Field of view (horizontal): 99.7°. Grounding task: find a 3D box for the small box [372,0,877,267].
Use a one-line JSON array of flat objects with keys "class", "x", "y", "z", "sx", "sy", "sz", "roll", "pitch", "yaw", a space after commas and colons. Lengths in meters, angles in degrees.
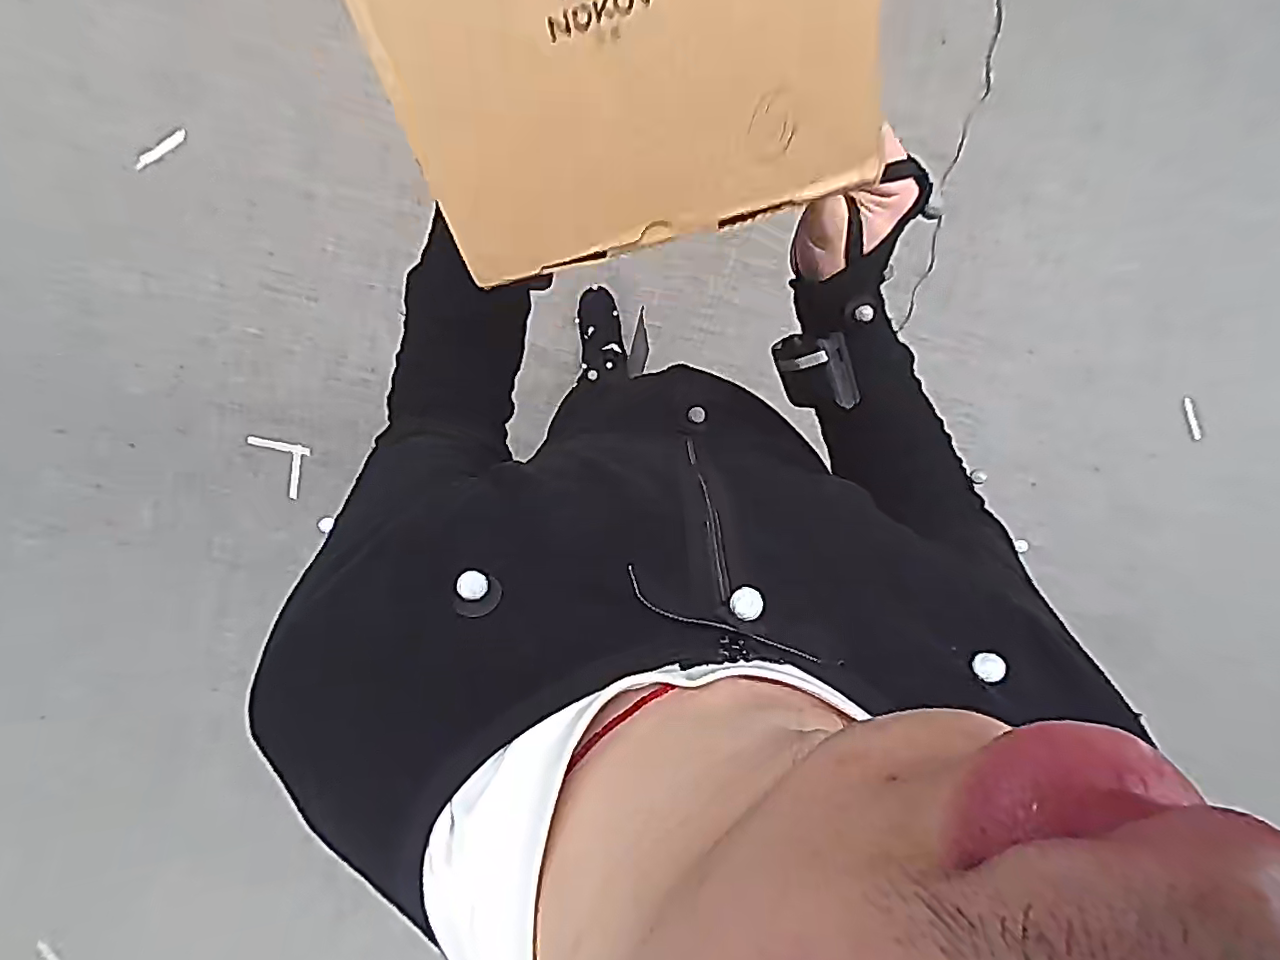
[{"class": "small box", "x": -0.002, "y": -0.220, "z": 0.236, "sx": 0.168, "sy": 0.176, "sz": 0.179, "roll": -10, "pitch": 123, "yaw": 15}]
